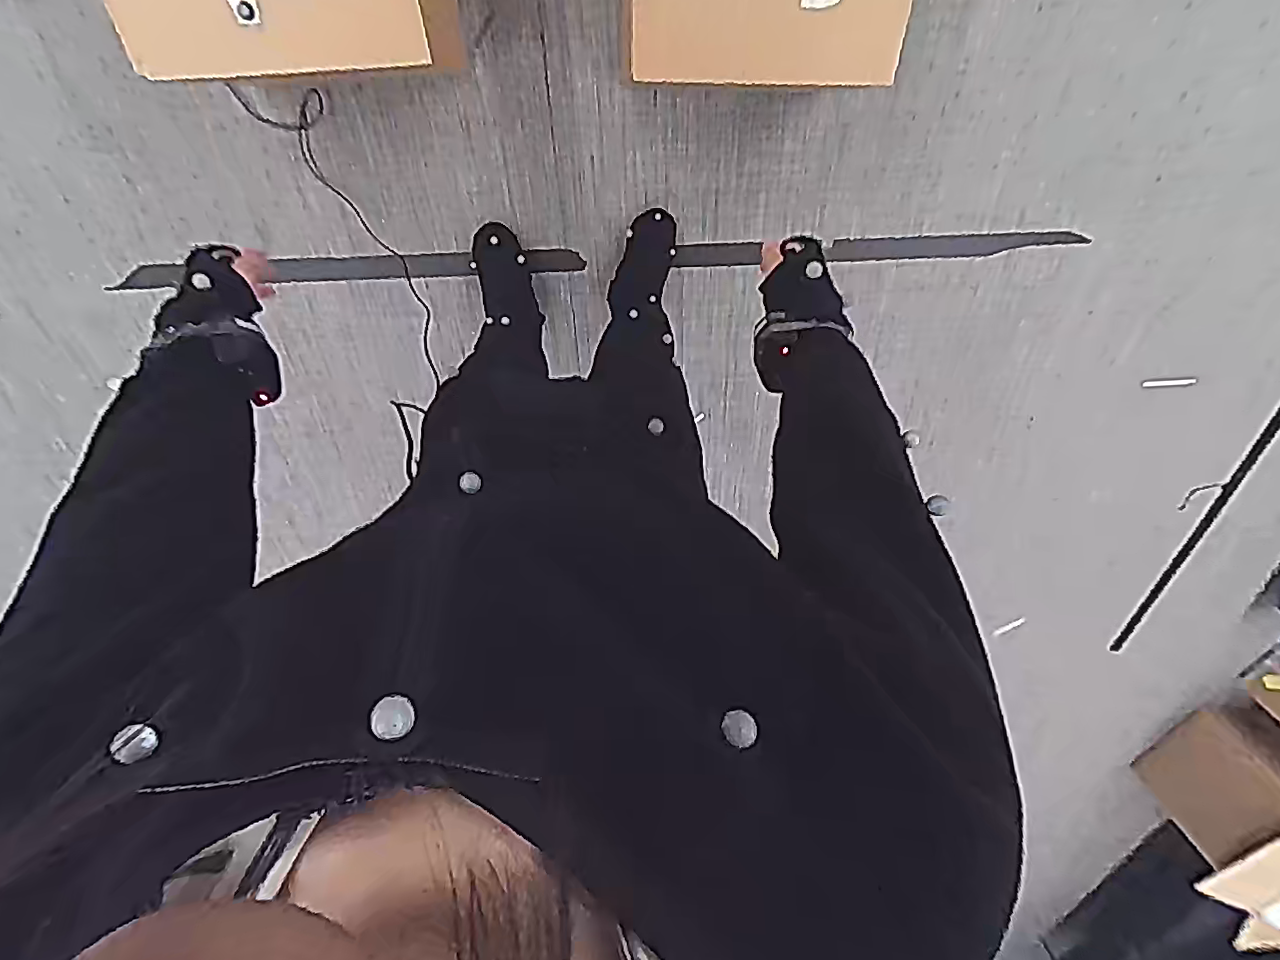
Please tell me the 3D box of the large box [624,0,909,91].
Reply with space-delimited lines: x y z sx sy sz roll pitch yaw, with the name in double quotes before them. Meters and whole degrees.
"large box" 0.180 -0.816 0.860 0.408 0.320 0.320 -2 125 -5
